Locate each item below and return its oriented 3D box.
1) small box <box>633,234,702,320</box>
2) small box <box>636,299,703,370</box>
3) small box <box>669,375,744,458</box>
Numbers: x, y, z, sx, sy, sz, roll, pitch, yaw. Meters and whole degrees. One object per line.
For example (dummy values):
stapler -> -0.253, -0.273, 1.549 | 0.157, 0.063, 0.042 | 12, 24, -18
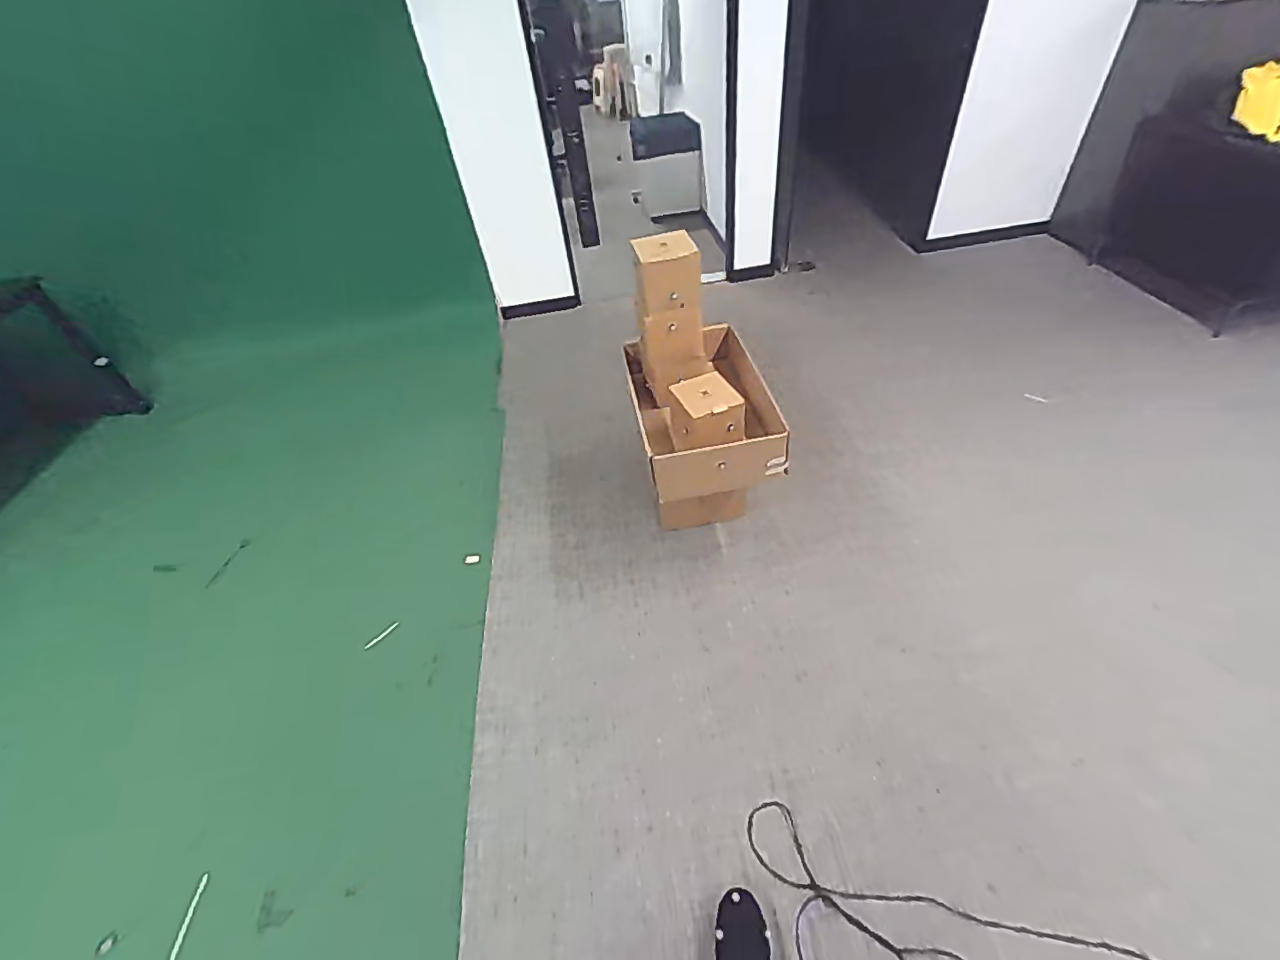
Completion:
small box -> 0.081, -0.597, 1.595 | 0.168, 0.176, 0.179 | -13, 45, -3
small box -> 0.094, -0.473, 1.703 | 0.179, 0.176, 0.168 | -14, 45, -5
small box -> 0.201, -0.184, 1.631 | 0.168, 0.176, 0.179 | -19, 45, -12
